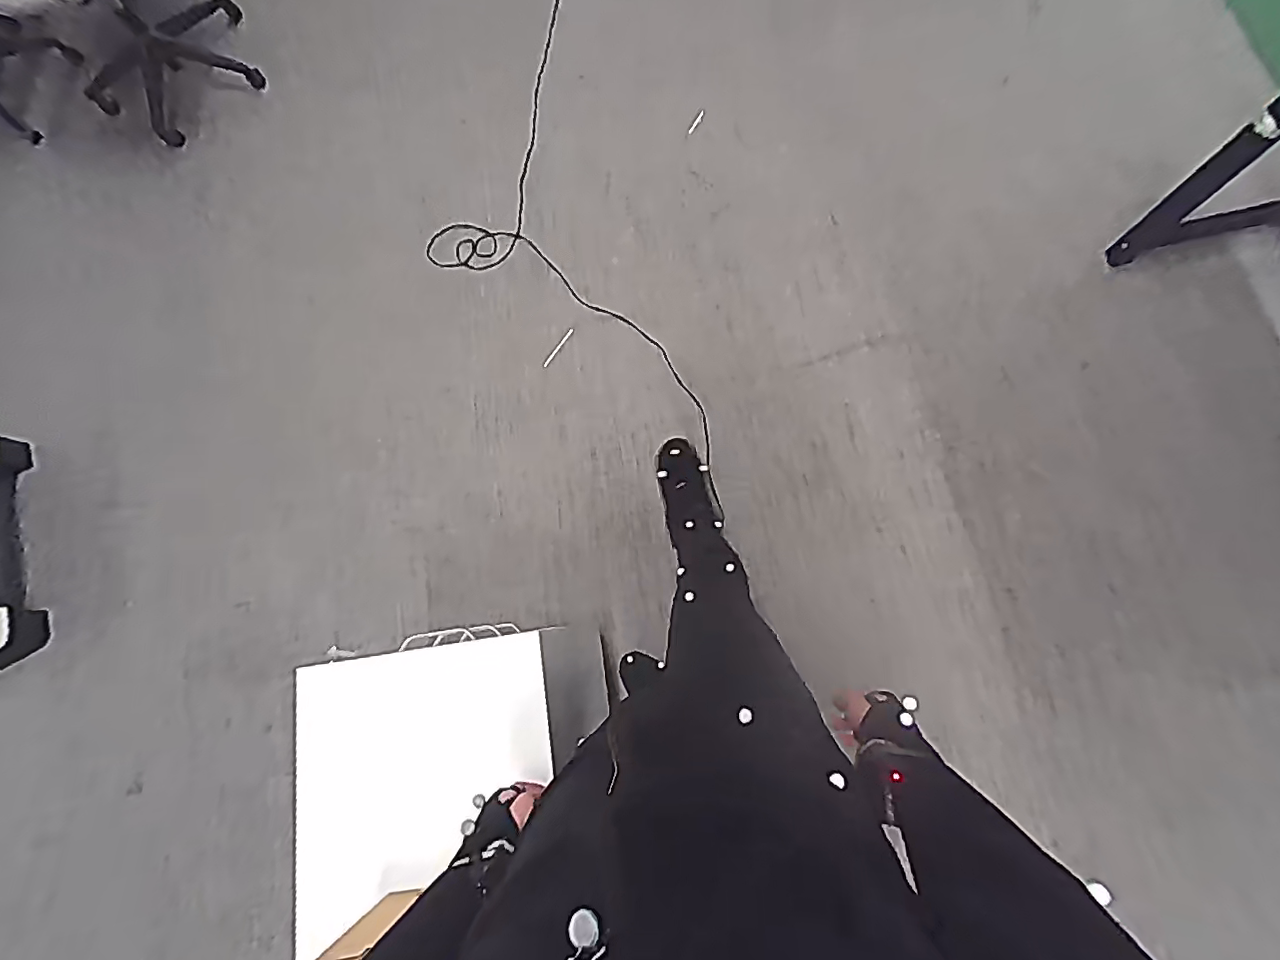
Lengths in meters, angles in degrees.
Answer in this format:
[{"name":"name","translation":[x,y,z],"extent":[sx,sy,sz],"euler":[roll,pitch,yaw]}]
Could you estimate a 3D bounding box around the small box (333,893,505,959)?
[{"name":"small box","translation":[-0.271,0.643,0.663],"extent":[0.168,0.176,0.179],"euler":[-10,76,4]}]
